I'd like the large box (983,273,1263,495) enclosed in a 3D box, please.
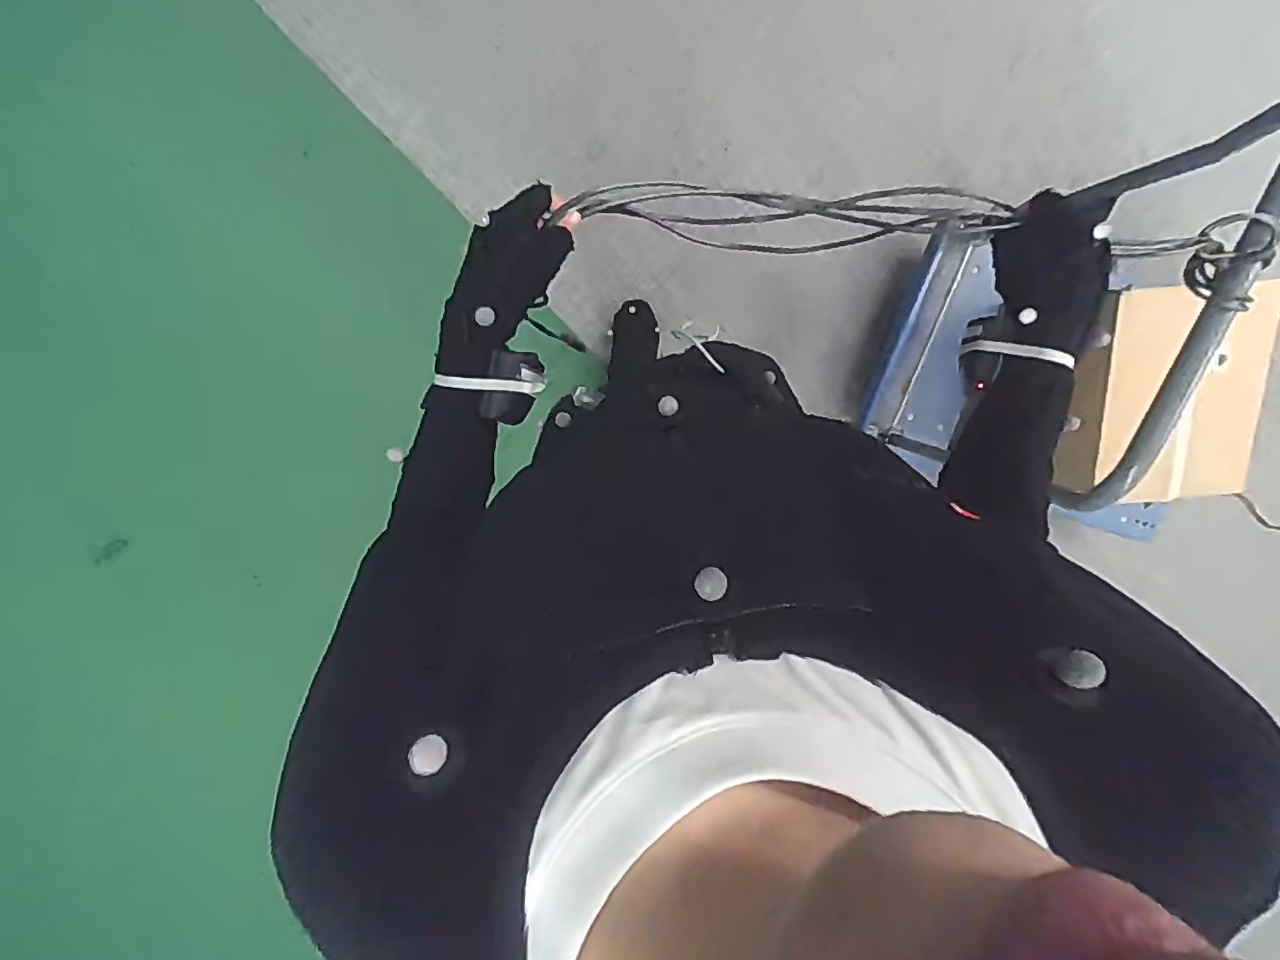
[{"bbox_3d":[0.999,-0.207,1.173,0.320,0.320,0.408,-5,103,-3],"label":"large box"}]
